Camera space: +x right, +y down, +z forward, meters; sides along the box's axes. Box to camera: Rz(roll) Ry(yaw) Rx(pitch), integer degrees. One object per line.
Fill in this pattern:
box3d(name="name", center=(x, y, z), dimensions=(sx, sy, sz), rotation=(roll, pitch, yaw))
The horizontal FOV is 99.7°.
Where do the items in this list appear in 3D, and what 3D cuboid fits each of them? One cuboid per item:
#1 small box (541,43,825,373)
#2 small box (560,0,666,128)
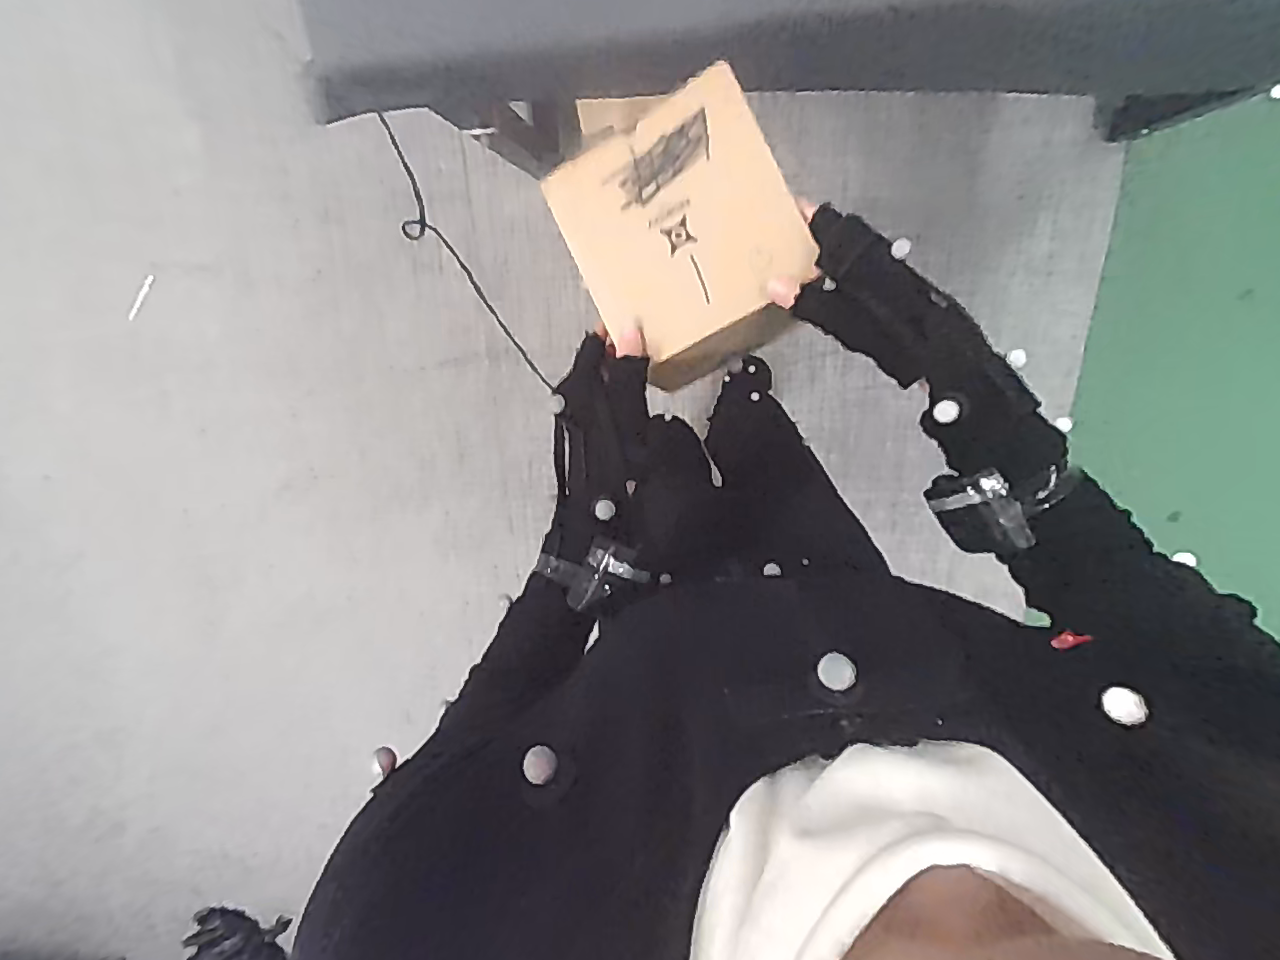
box3d(name="small box", center=(0.044, -0.210, 0.479), dimensions=(0.168, 0.176, 0.179), rotation=(-24, 91, 15))
box3d(name="small box", center=(-0.038, -0.780, 1.032), dimensions=(0.168, 0.176, 0.179), rotation=(-9, 110, 9))
